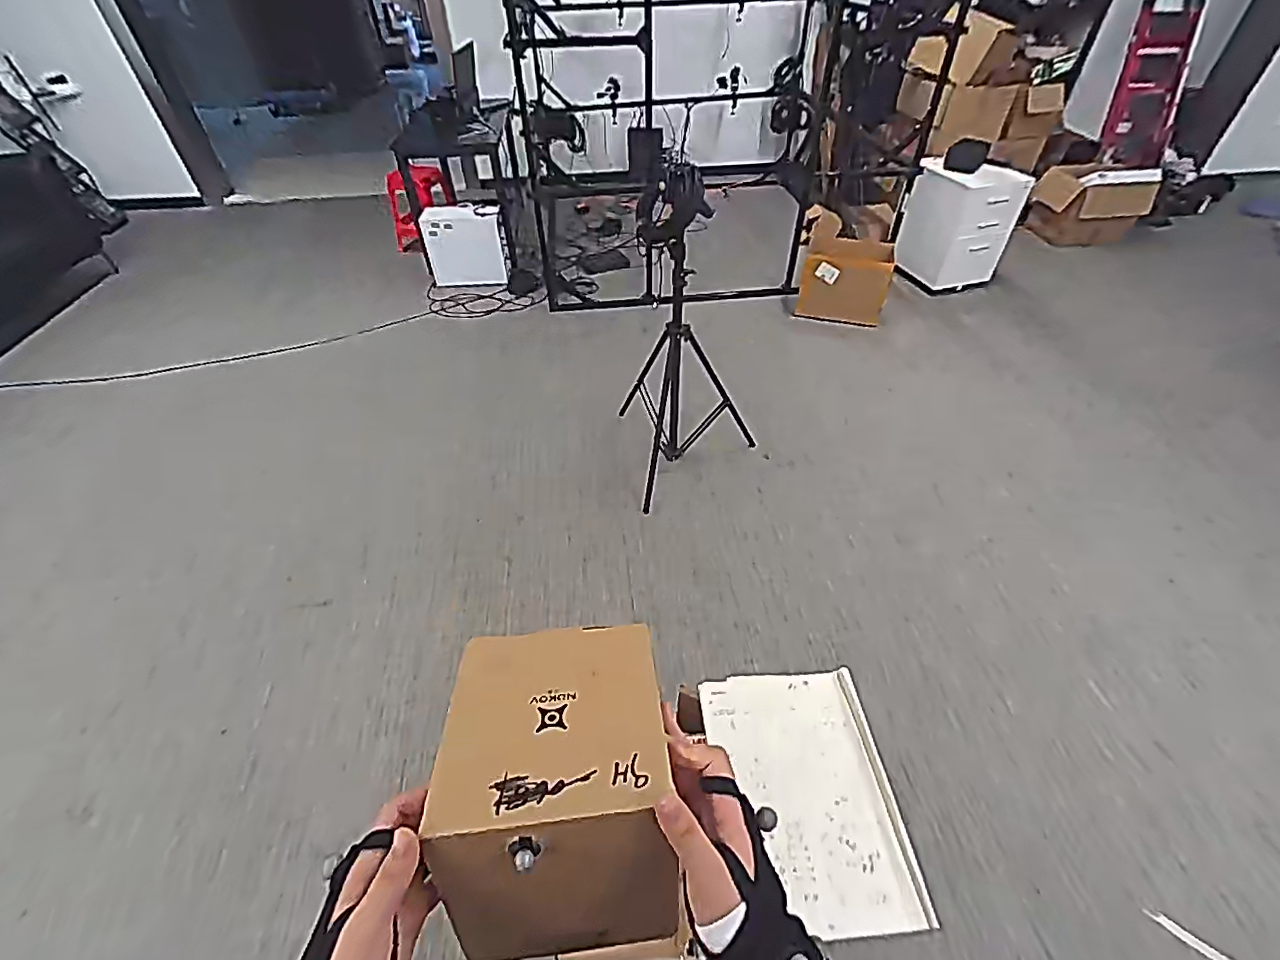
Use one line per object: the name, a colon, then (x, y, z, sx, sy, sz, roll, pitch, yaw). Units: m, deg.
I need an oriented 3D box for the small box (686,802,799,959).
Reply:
small box: (0.171, 0.566, 0.777, 0.179, 0.176, 0.168, -5, 45, -6)

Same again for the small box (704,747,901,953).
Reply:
small box: (0.178, 0.450, 0.661, 0.168, 0.176, 0.179, -2, 46, -4)

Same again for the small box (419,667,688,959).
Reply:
small box: (-0.057, 0.282, 0.435, 0.168, 0.176, 0.179, -5, 27, -4)
